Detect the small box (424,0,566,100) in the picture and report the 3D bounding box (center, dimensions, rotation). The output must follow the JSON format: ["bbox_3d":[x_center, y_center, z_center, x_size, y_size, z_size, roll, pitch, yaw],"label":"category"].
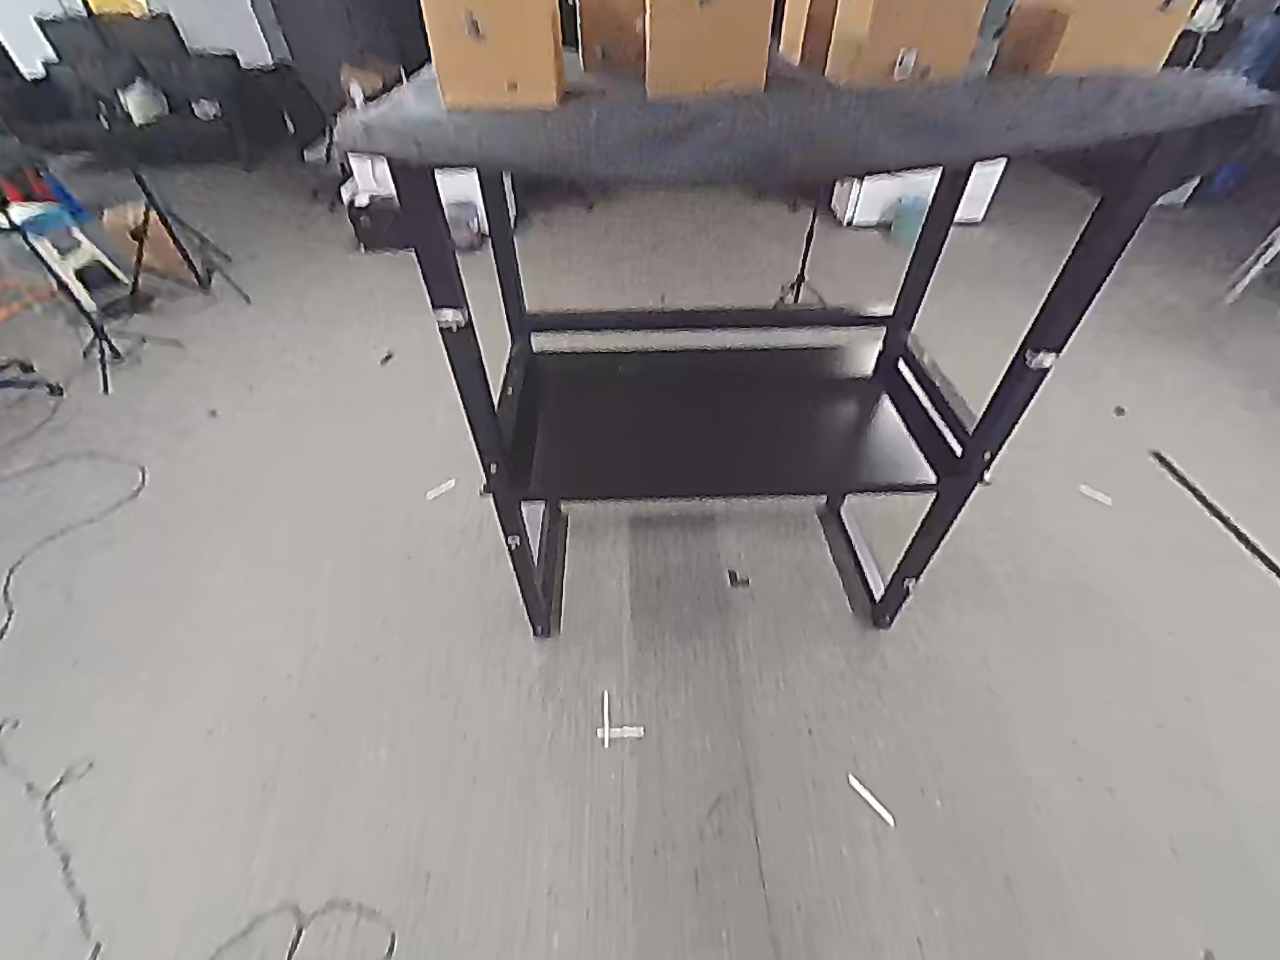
[{"bbox_3d":[-0.199,-0.655,0.771,0.168,0.176,0.179,-1,44,-1],"label":"small box"}]

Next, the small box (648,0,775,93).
[{"bbox_3d":[0.100,-0.689,0.800,0.179,0.176,0.168,0,46,0],"label":"small box"}]

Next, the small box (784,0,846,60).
[{"bbox_3d":[0.380,-0.889,0.991,0.179,0.176,0.168,-1,45,-2],"label":"small box"}]

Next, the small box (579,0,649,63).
[{"bbox_3d":[-0.027,-0.869,0.976,0.168,0.176,0.179,-4,46,-4],"label":"small box"}]

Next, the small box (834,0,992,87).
[{"bbox_3d":[0.412,-0.718,0.825,0.168,0.176,0.179,-1,45,1],"label":"small box"}]
